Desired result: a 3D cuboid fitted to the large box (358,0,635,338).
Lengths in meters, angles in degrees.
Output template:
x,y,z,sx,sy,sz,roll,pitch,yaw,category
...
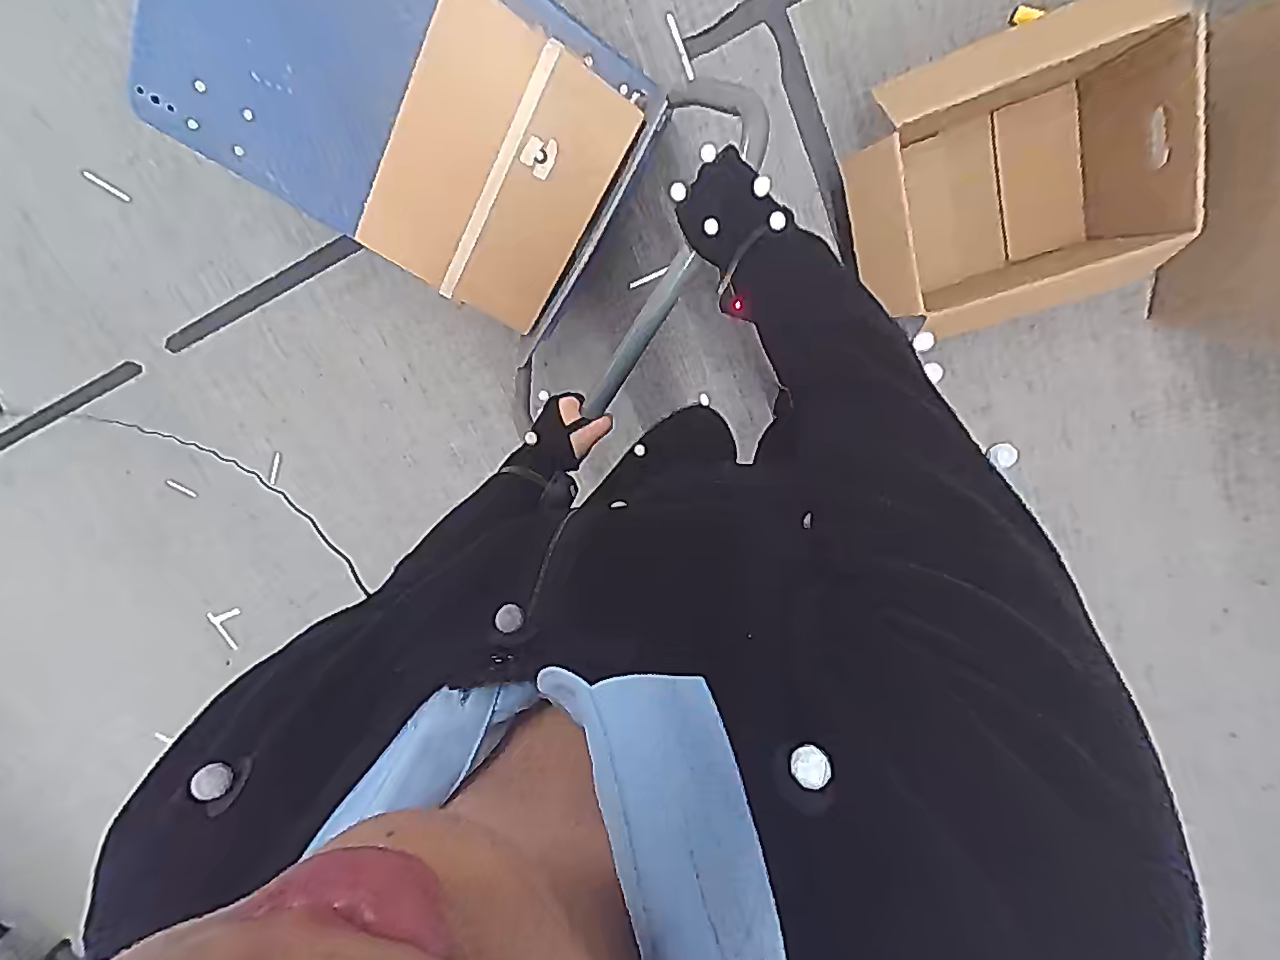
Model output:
x,y,z,sx,sy,sz,roll,pitch,yaw,category
-0.248,-0.539,0.985,0.320,0.320,0.408,26,114,-20,large box
